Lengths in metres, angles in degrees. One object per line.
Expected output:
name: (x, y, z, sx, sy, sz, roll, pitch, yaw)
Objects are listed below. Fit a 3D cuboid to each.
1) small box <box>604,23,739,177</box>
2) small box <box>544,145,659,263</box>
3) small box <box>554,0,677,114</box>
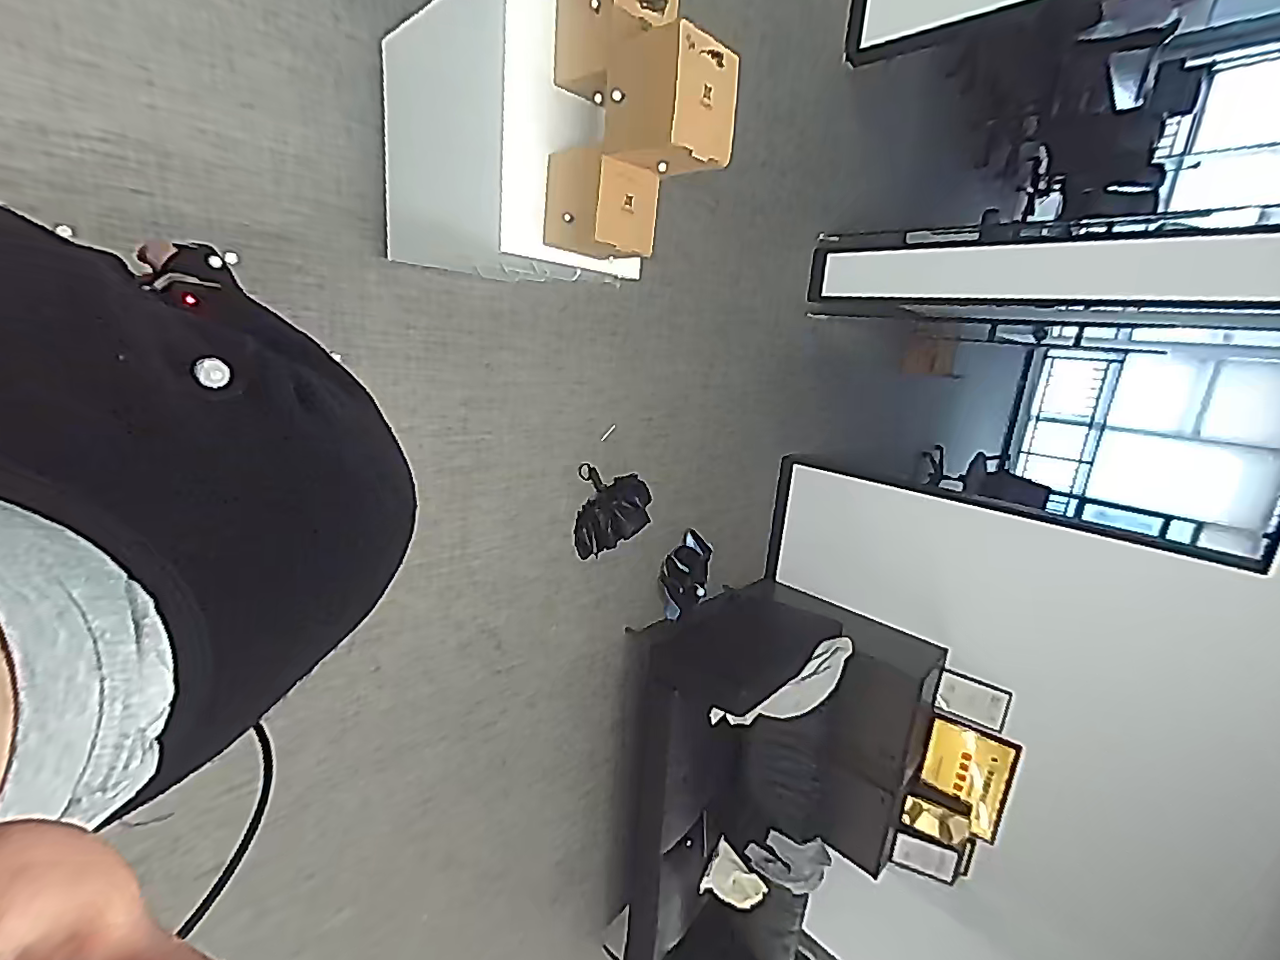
small box: (0.051, -0.662, 0.971, 0.168, 0.176, 0.179, -13, 115, -45)
small box: (-0.083, -0.553, 1.113, 0.168, 0.176, 0.179, -9, 108, -47)
small box: (-0.051, -0.841, 1.041, 0.168, 0.176, 0.179, -12, 114, -44)
